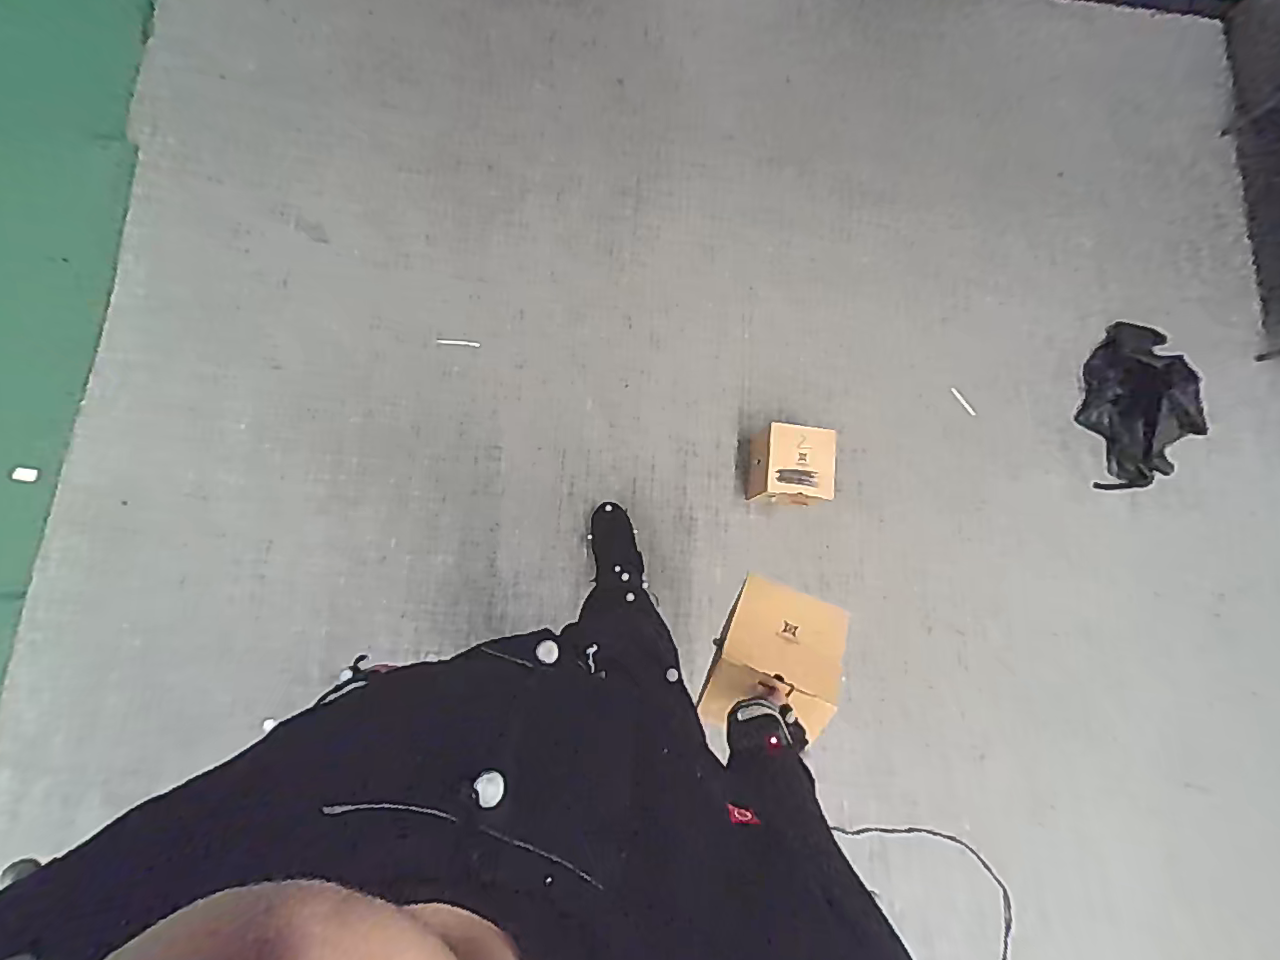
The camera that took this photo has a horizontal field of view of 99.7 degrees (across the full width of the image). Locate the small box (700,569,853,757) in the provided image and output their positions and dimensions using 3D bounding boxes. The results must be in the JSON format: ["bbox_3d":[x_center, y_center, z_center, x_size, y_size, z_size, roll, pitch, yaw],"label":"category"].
[{"bbox_3d":[0.203,0.275,0.819,0.168,0.176,0.179,21,41,11],"label":"small box"}]
